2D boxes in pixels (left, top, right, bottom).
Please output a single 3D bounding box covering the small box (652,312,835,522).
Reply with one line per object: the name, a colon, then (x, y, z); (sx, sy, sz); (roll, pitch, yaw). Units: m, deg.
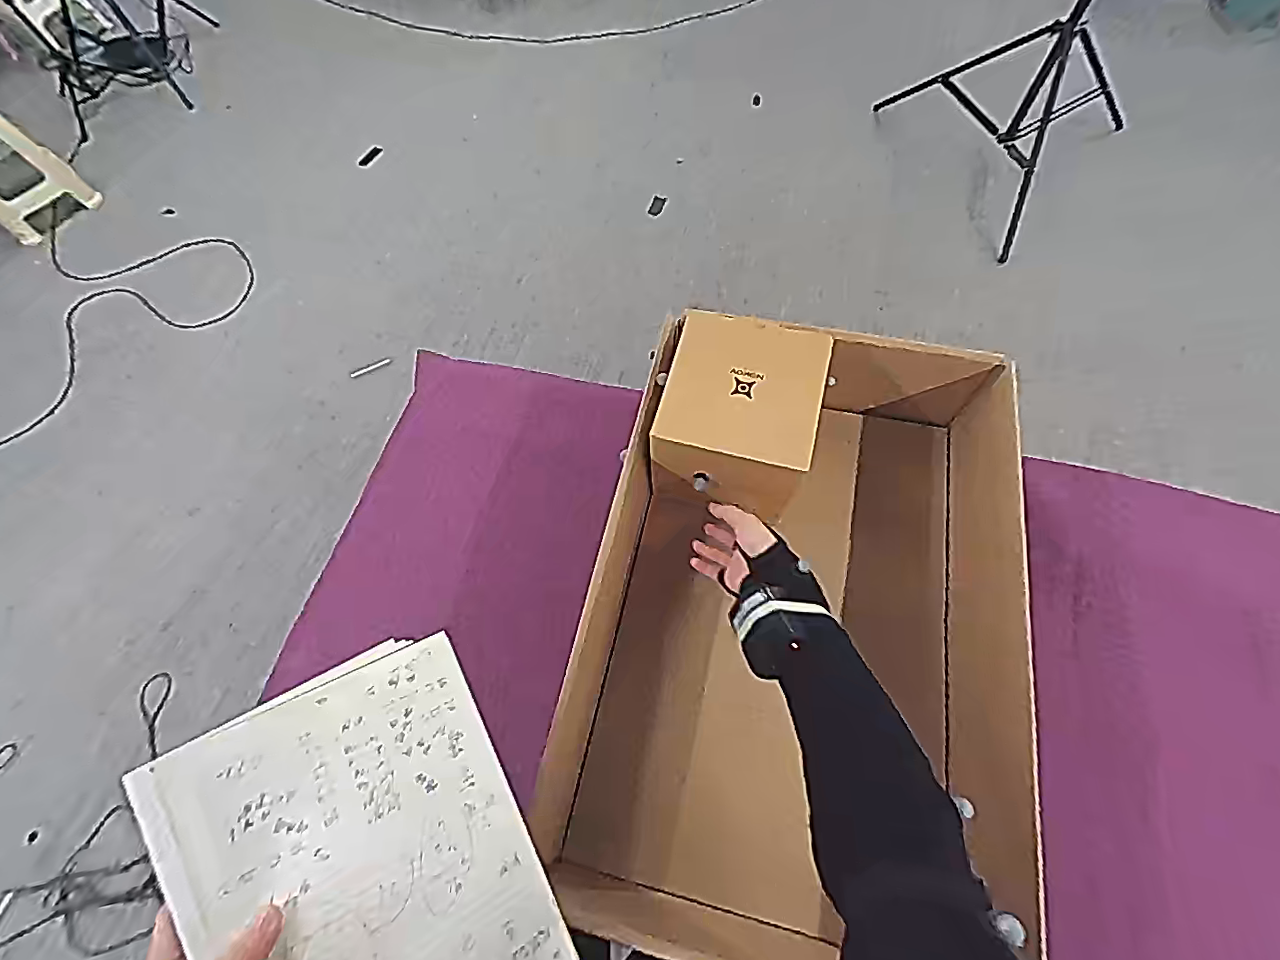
small box: (0.118, -0.066, 0.647); (0.168, 0.176, 0.179); (13, 67, 8)
